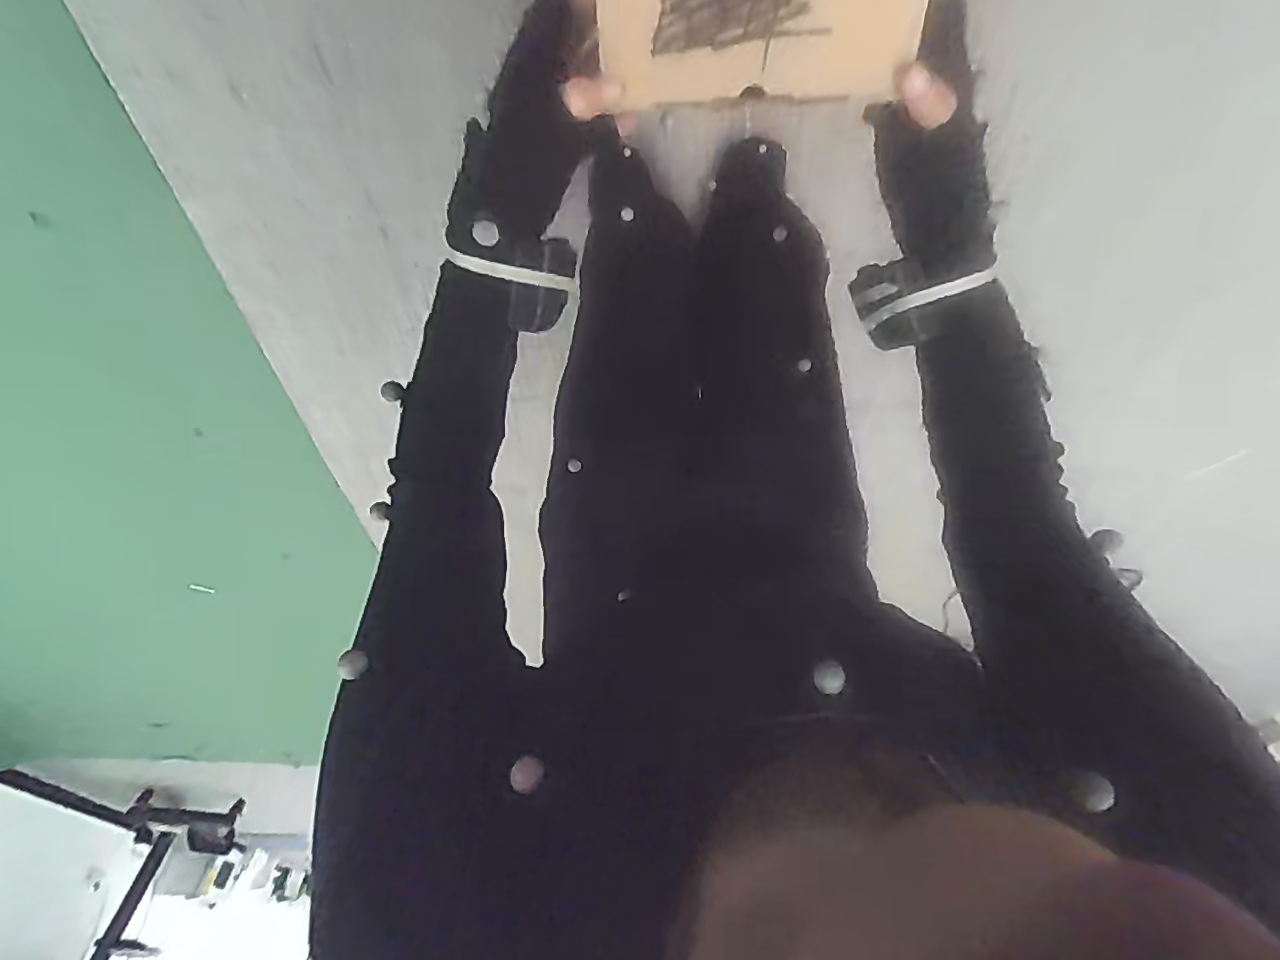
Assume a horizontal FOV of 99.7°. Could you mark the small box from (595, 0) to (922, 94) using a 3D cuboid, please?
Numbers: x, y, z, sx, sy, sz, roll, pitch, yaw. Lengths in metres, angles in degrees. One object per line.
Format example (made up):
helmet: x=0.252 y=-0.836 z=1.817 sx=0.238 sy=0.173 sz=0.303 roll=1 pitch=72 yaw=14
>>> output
small box: x=0.066 y=-0.330 z=0.309 sx=0.168 sy=0.176 sz=0.179 roll=2 pitch=122 yaw=4
